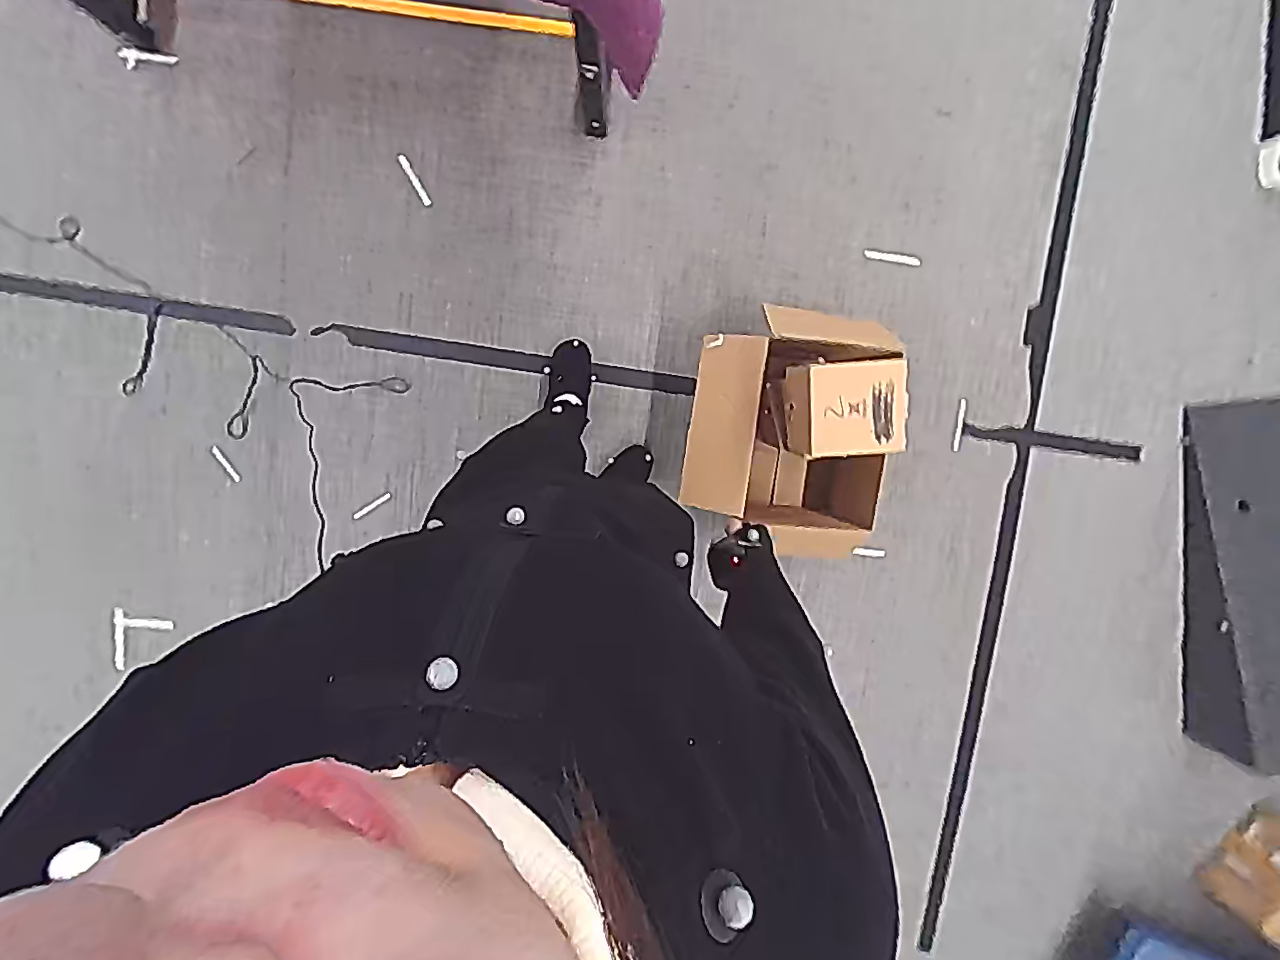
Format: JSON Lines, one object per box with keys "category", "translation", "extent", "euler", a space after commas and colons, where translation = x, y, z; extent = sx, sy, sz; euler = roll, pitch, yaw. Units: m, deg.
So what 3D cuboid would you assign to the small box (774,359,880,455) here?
{"category": "small box", "translation": [0.412, -0.164, 1.217], "extent": [0.168, 0.176, 0.179], "euler": [-13, 100, 2]}
